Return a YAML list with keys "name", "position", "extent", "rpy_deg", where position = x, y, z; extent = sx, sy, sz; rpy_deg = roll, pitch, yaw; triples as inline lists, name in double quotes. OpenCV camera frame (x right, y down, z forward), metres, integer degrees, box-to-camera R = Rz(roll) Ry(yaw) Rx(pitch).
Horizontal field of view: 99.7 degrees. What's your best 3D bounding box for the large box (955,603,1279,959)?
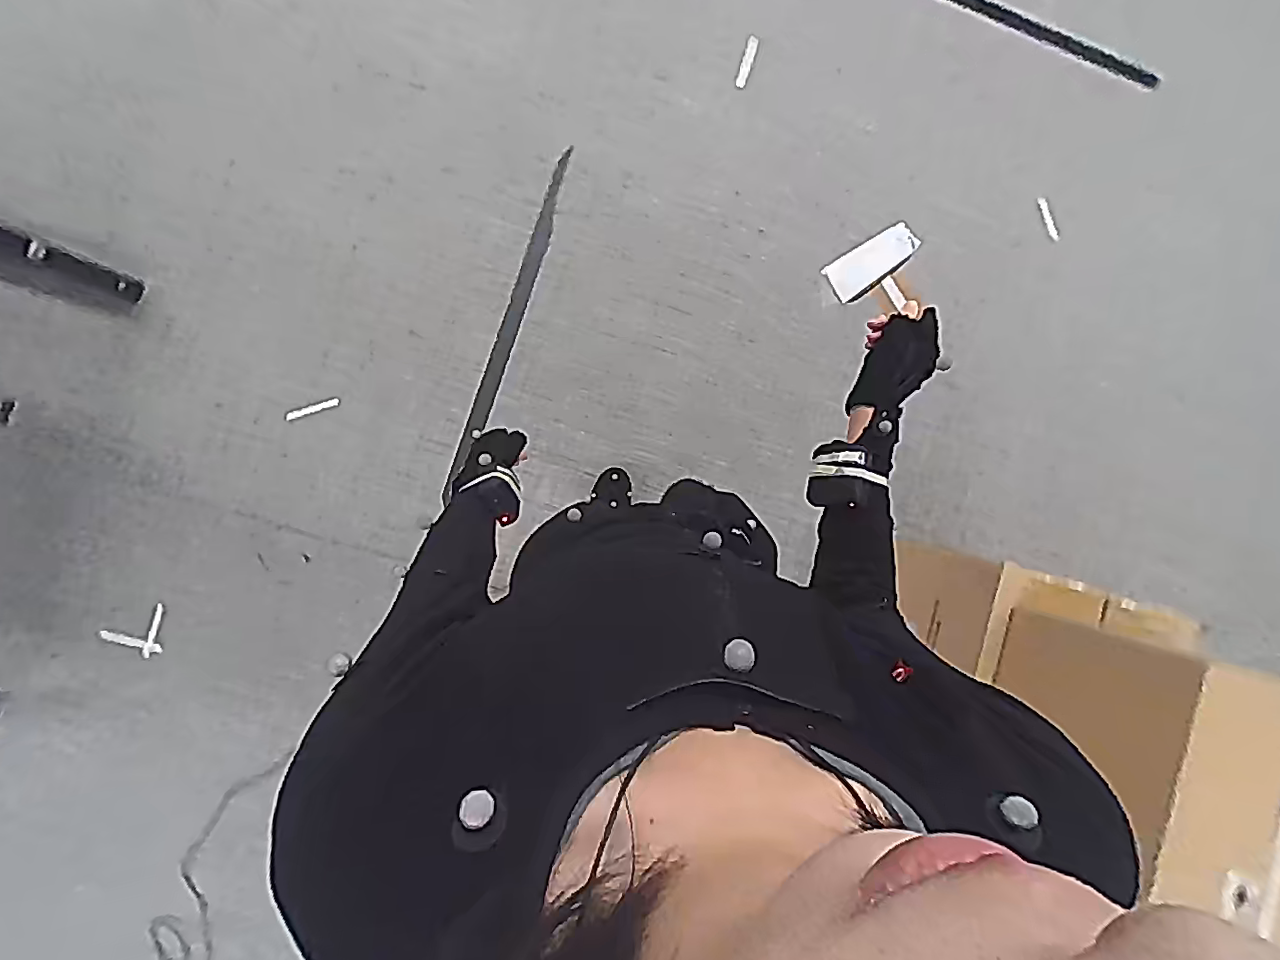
- name: "large box"
  position: [0.768, 0.446, 0.838]
  extent: [0.320, 0.320, 0.408]
  rpy_deg: [16, 89, -5]
